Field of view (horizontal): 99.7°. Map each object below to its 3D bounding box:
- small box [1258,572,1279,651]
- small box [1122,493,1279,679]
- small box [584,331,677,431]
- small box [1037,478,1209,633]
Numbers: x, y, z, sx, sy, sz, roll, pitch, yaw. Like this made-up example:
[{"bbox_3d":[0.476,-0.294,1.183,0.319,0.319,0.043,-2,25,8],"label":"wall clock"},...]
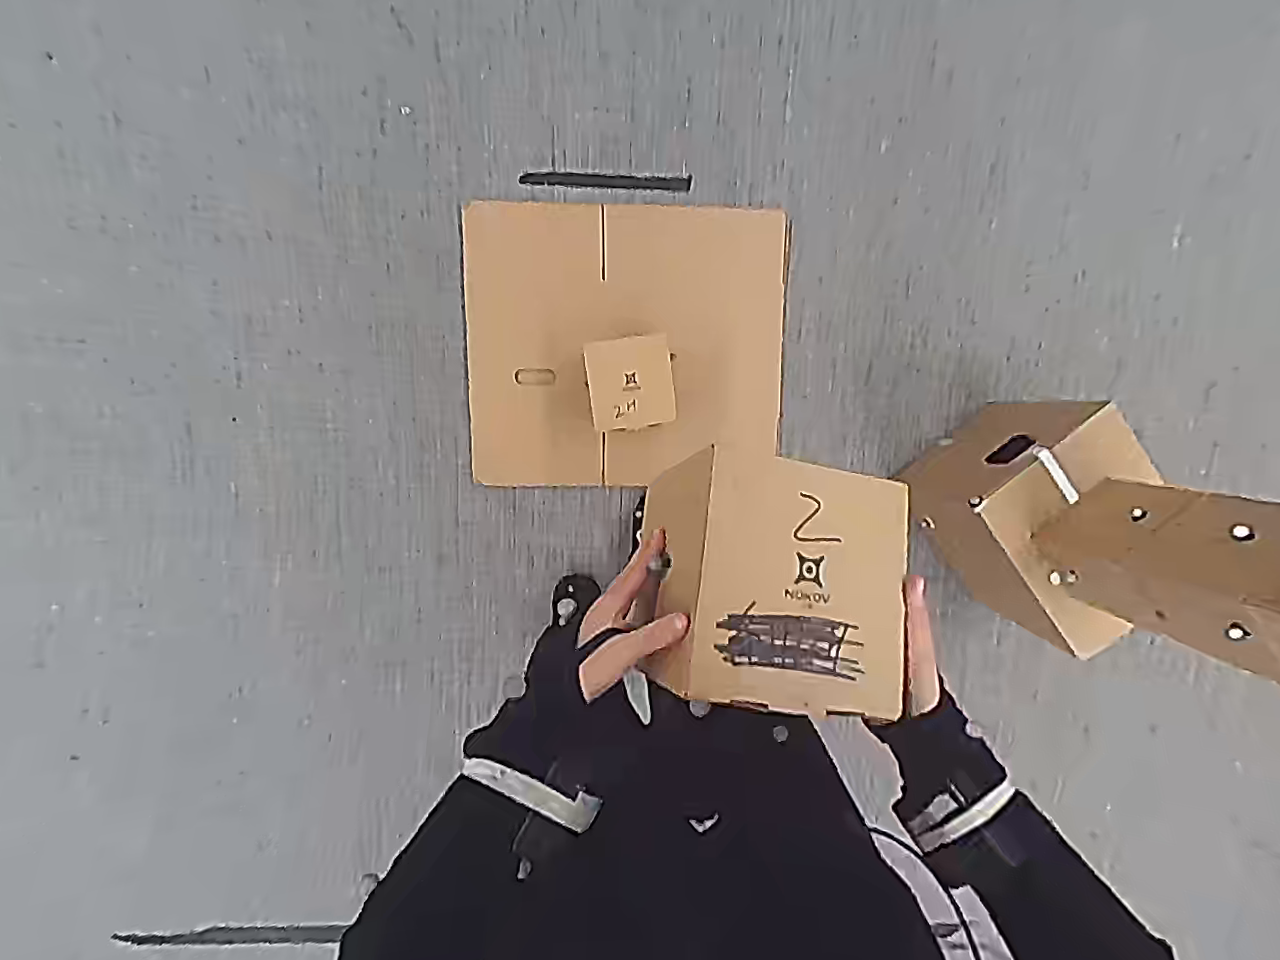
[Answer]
[{"bbox_3d":[0.859,0.166,0.594,0.179,0.176,0.168,-39,98,3],"label":"small box"},{"bbox_3d":[0.849,0.138,0.754,0.179,0.176,0.168,-39,98,2],"label":"small box"},{"bbox_3d":[-0.020,-0.202,1.123,0.168,0.176,0.179,-8,99,1],"label":"small box"},{"bbox_3d":[0.838,0.116,0.917,0.179,0.176,0.168,-39,99,3],"label":"small box"}]
